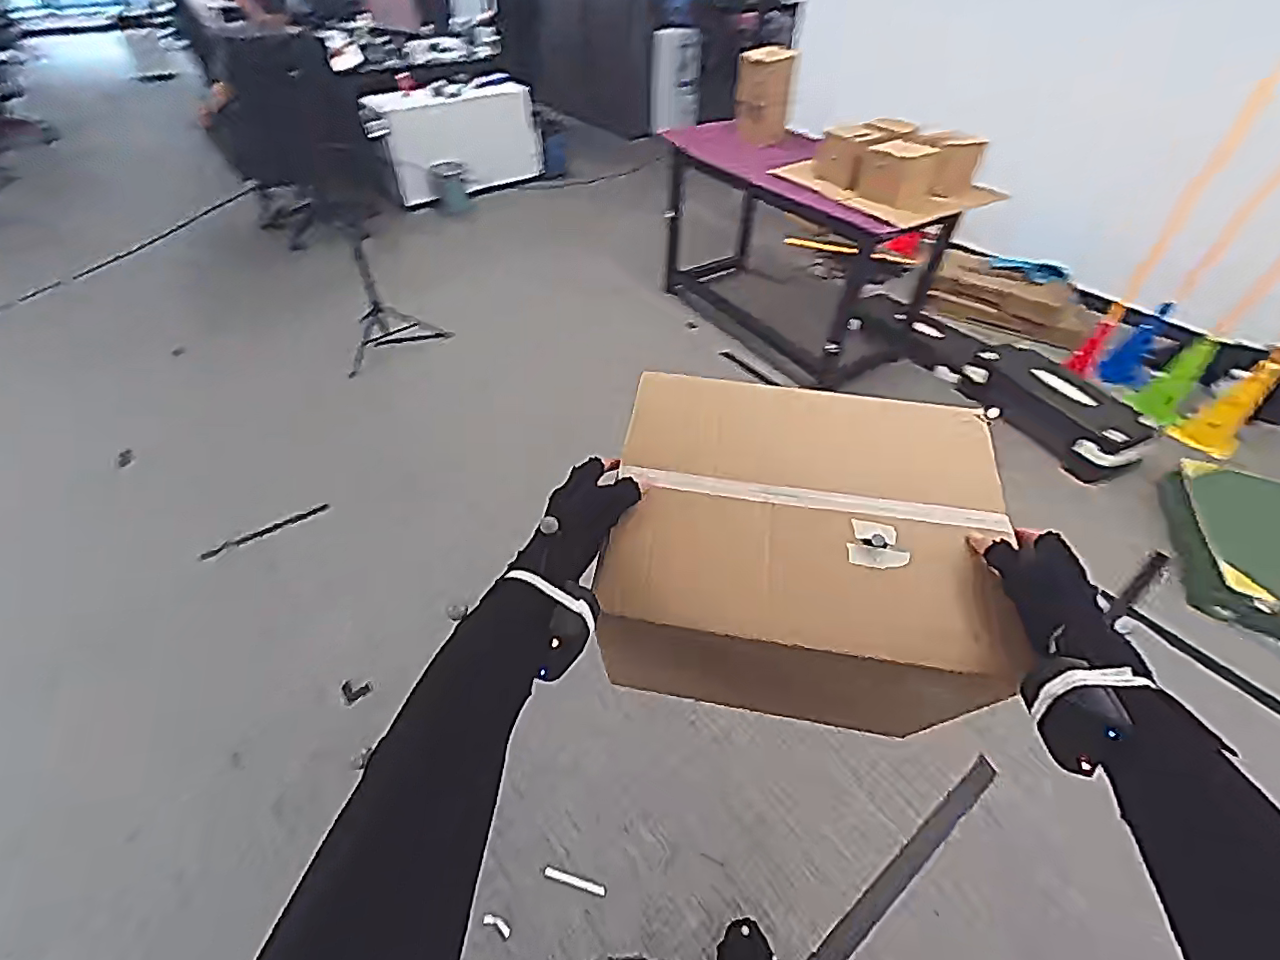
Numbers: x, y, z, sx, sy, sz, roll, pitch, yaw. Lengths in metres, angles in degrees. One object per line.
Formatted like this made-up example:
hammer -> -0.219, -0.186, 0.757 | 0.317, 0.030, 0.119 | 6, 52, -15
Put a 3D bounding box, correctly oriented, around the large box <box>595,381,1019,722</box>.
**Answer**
large box -> 0.171, 0.103, 0.711 | 0.408, 0.320, 0.320 | 7, 58, 5
